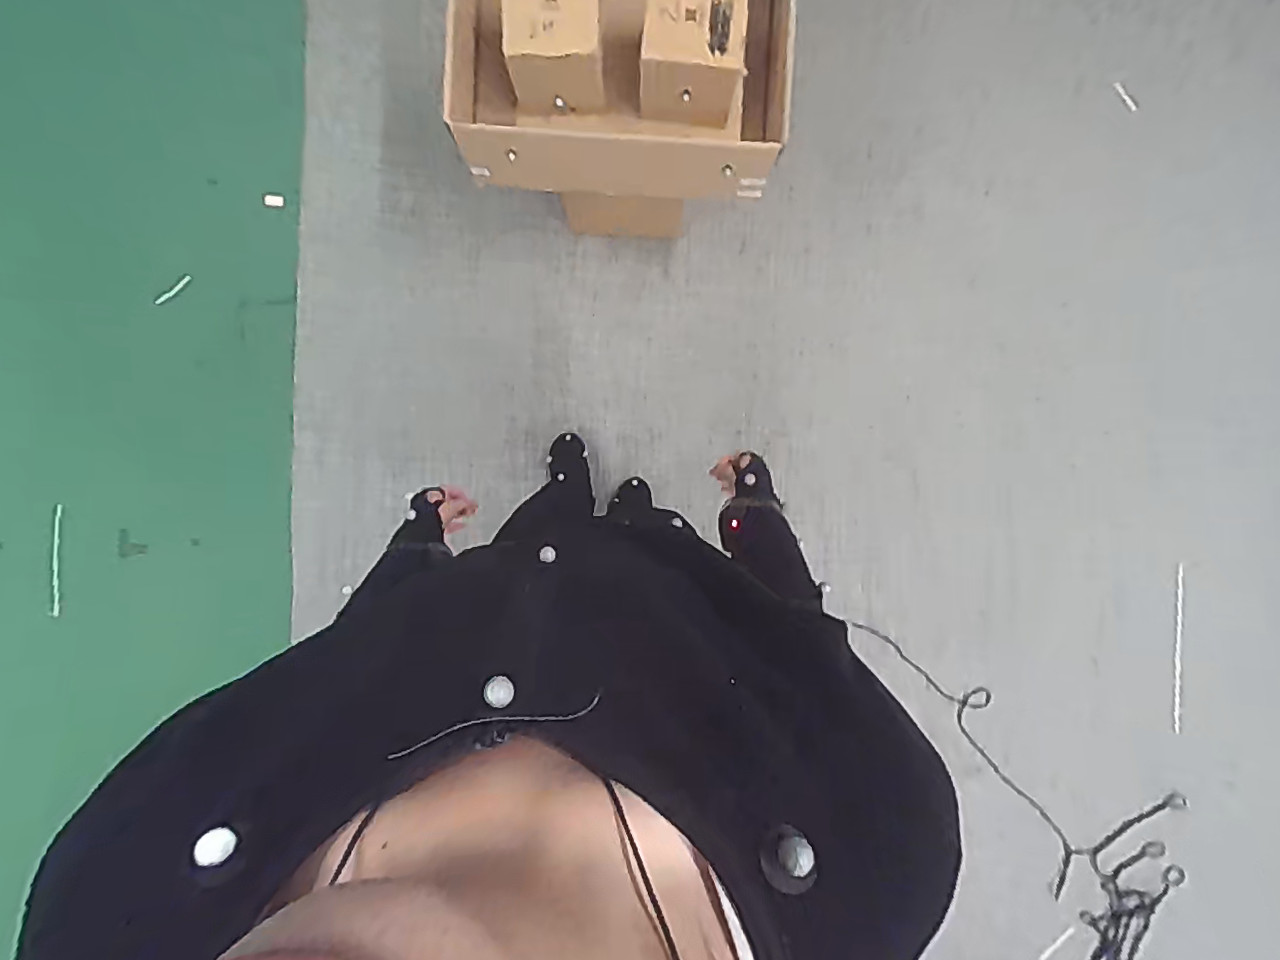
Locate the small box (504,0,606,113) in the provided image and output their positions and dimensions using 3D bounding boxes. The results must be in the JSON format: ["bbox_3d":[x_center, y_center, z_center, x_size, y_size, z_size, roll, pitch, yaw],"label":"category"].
[{"bbox_3d":[-0.150,-0.822,0.997,0.168,0.176,0.179,0,92,-1],"label":"small box"}]
